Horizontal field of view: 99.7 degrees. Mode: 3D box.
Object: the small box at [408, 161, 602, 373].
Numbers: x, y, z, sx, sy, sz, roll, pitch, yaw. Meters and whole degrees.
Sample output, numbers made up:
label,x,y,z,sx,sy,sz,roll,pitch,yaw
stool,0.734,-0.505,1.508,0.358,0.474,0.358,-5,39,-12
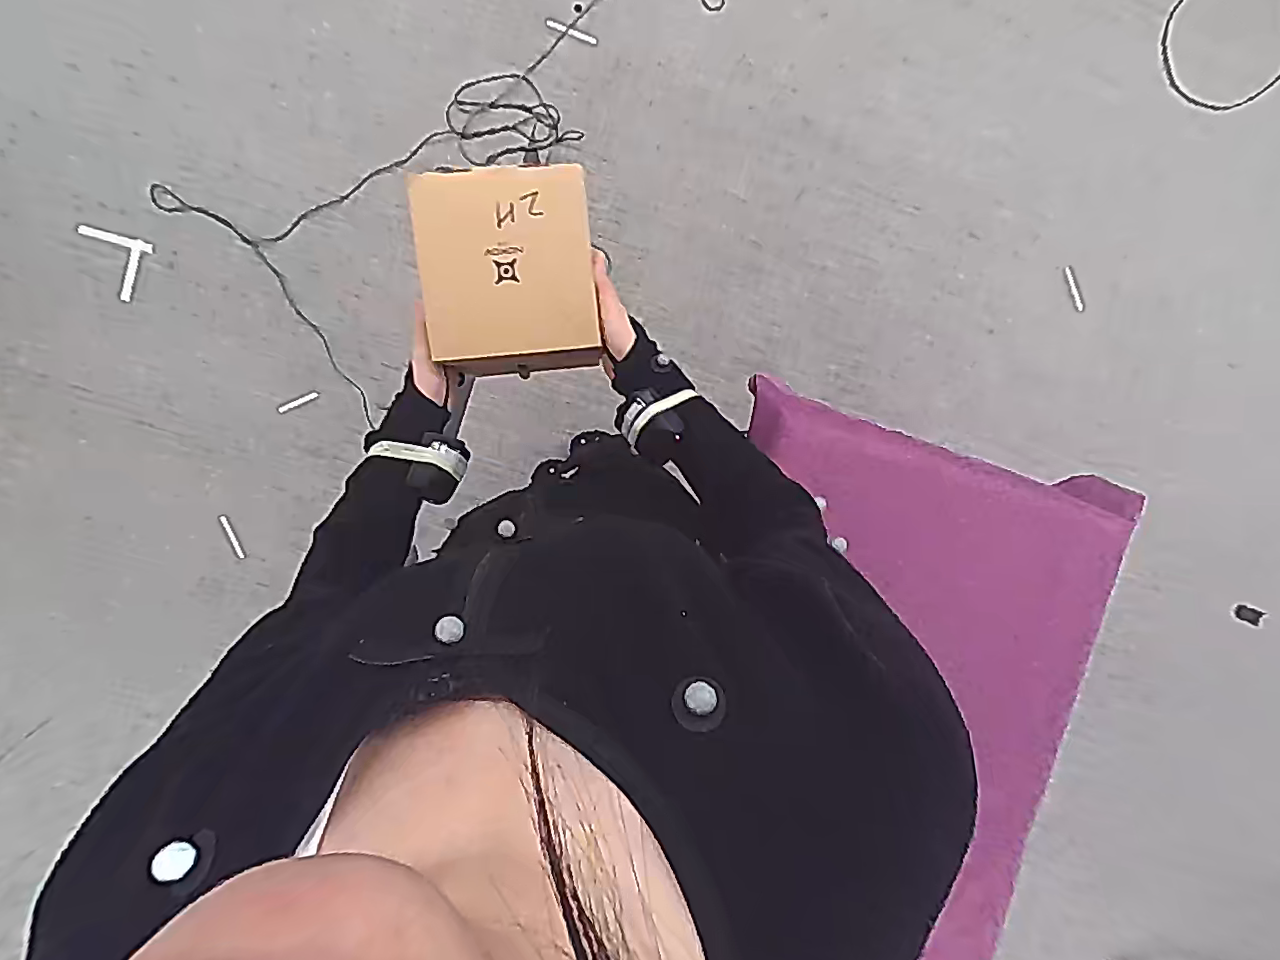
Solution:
label,x,y,z,sx,sy,sz,roll,pitch,yaw
small box,-0.131,-0.214,0.593,0.168,0.176,0.179,-7,96,-4
